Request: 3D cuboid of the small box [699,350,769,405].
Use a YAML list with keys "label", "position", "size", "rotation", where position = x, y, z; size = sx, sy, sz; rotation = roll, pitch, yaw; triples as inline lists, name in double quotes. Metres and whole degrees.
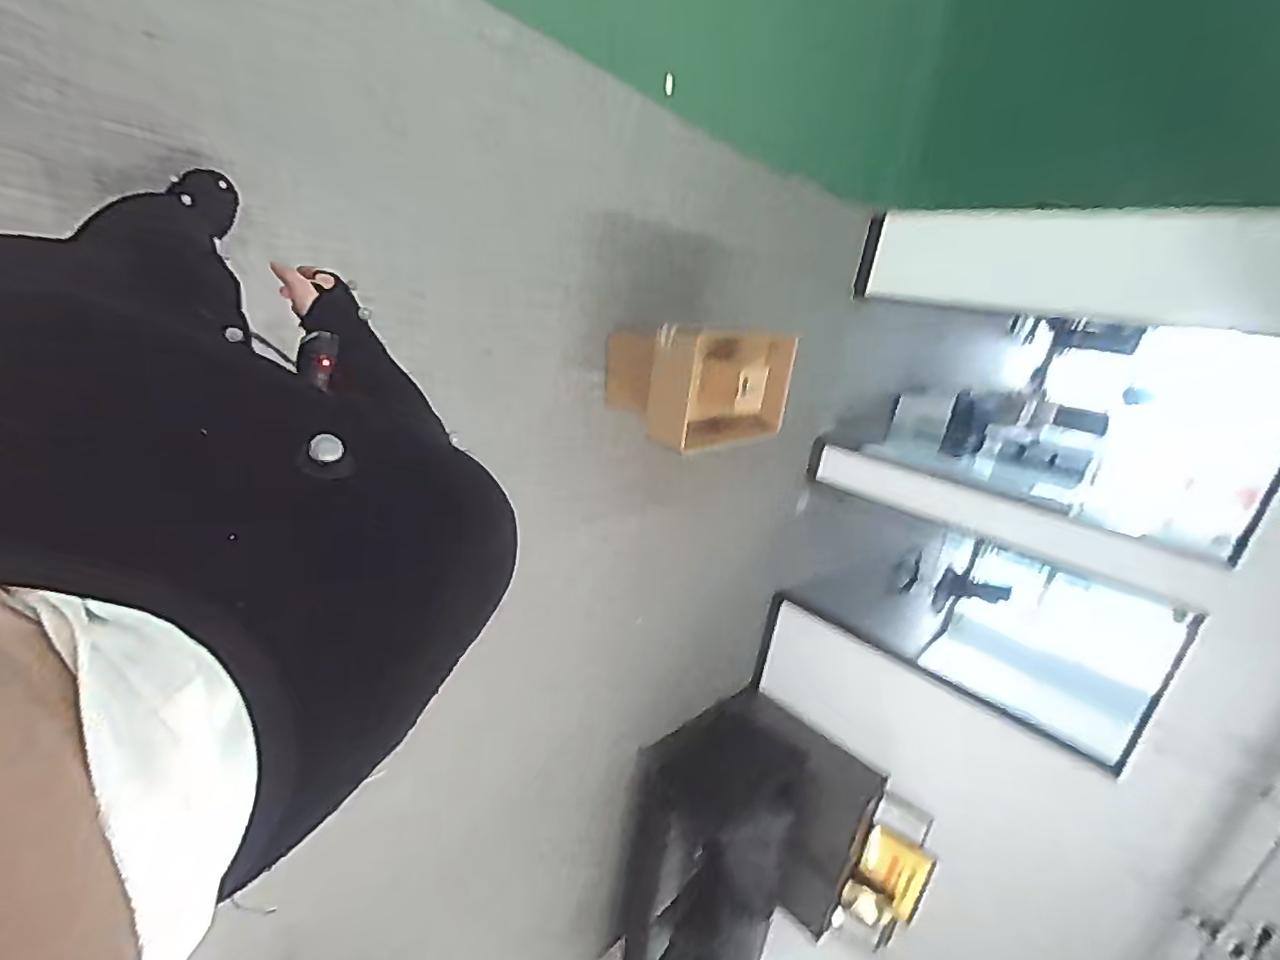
- label: "small box"
  position: [0.334, -0.372, 1.952]
  size: [0.179, 0.176, 0.168]
  rotation: [-13, 118, -45]
